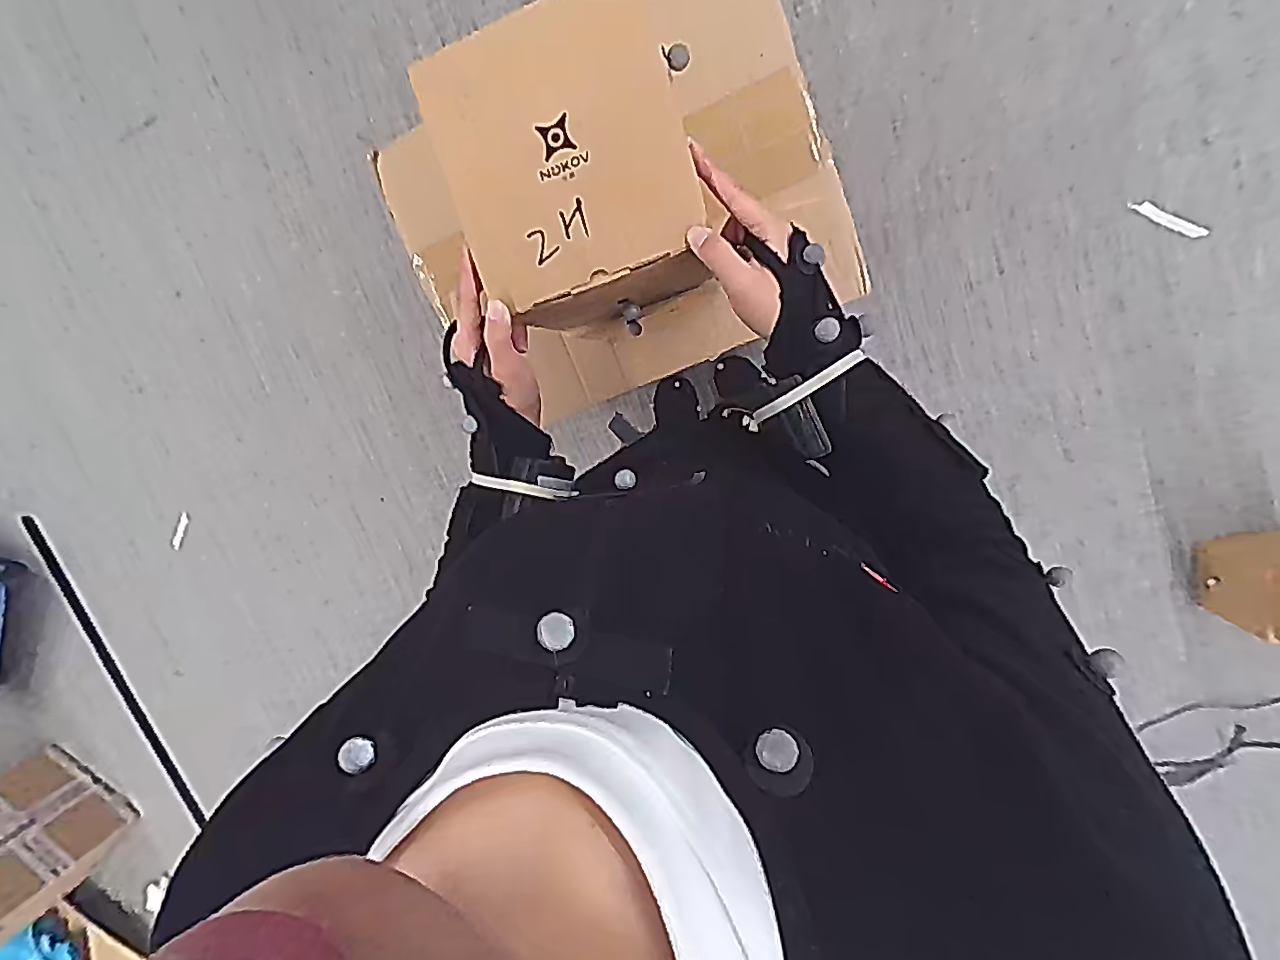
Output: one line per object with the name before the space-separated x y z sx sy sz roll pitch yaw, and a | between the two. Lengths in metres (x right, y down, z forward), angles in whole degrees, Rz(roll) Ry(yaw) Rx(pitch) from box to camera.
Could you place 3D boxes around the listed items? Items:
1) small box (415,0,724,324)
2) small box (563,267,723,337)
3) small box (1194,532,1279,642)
small box | -0.035 -0.237 0.427 0.168 0.176 0.179 -15 99 12
small box | -0.011 -0.266 0.588 0.168 0.176 0.179 -18 99 12
small box | 1.343 0.220 1.146 0.179 0.176 0.168 -11 100 12
